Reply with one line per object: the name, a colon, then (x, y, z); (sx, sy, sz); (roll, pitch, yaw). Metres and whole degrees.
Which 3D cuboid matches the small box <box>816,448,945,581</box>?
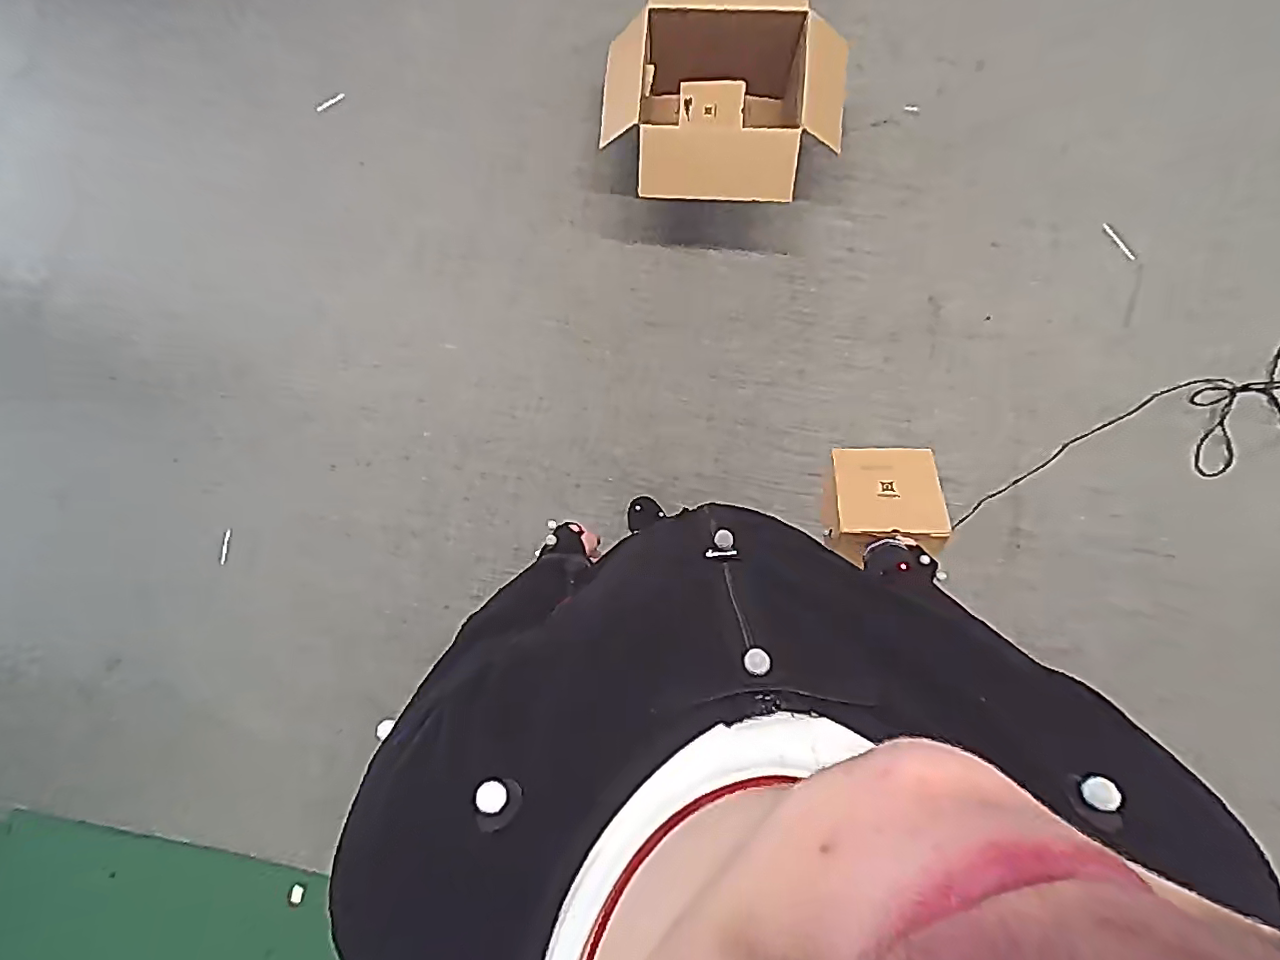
small box: (0.408, 0.063, 0.948); (0.168, 0.176, 0.179); (1, 52, 10)
